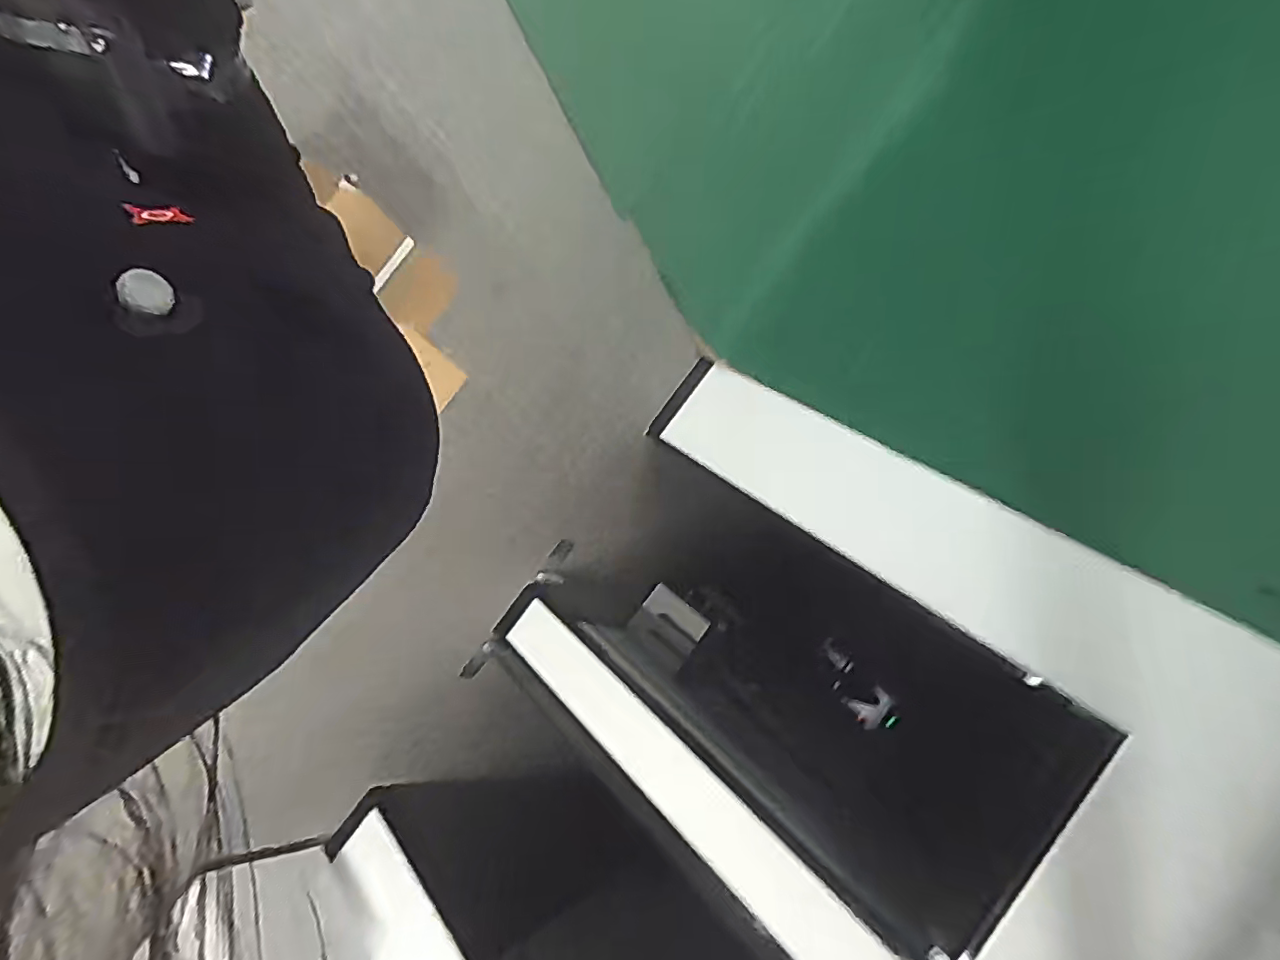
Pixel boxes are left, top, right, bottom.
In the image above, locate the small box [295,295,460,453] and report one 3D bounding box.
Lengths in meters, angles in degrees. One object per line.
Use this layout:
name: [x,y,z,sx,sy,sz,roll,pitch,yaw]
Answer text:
small box: [-0.457,-0.183,0.933,0.179,0.176,0.168,-52,148,-2]
